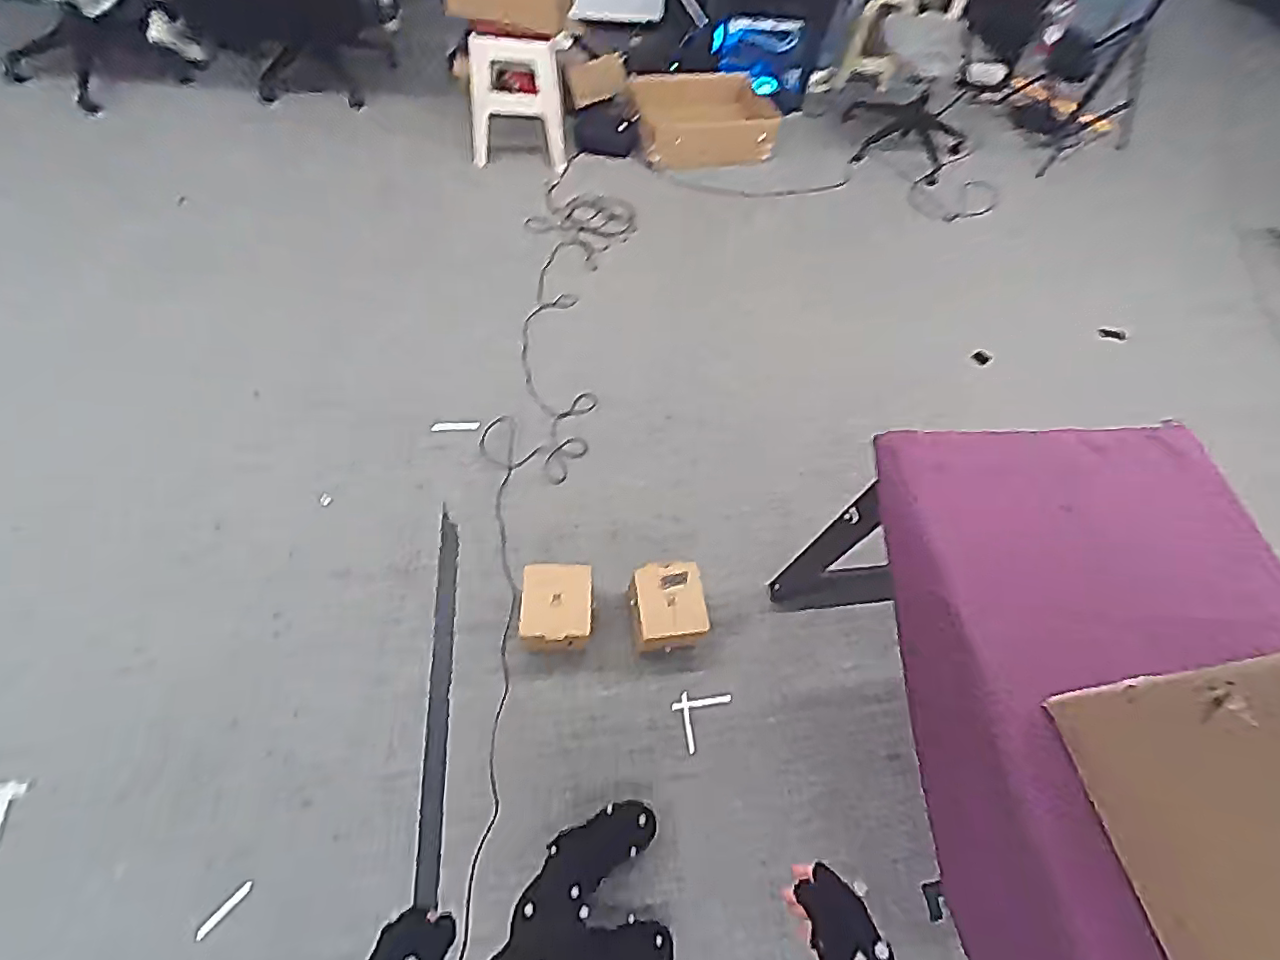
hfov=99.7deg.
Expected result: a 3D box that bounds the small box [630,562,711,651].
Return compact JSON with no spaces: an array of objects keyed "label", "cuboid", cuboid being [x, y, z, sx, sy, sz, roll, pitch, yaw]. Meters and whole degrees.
[{"label":"small box","cuboid":[0.071,0.327,1.390,0.168,0.176,0.179,-4,62,-9]}]

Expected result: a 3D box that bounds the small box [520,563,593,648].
[{"label":"small box","cuboid":[-0.206,0.321,1.360,0.168,0.176,0.179,2,60,-7]}]
